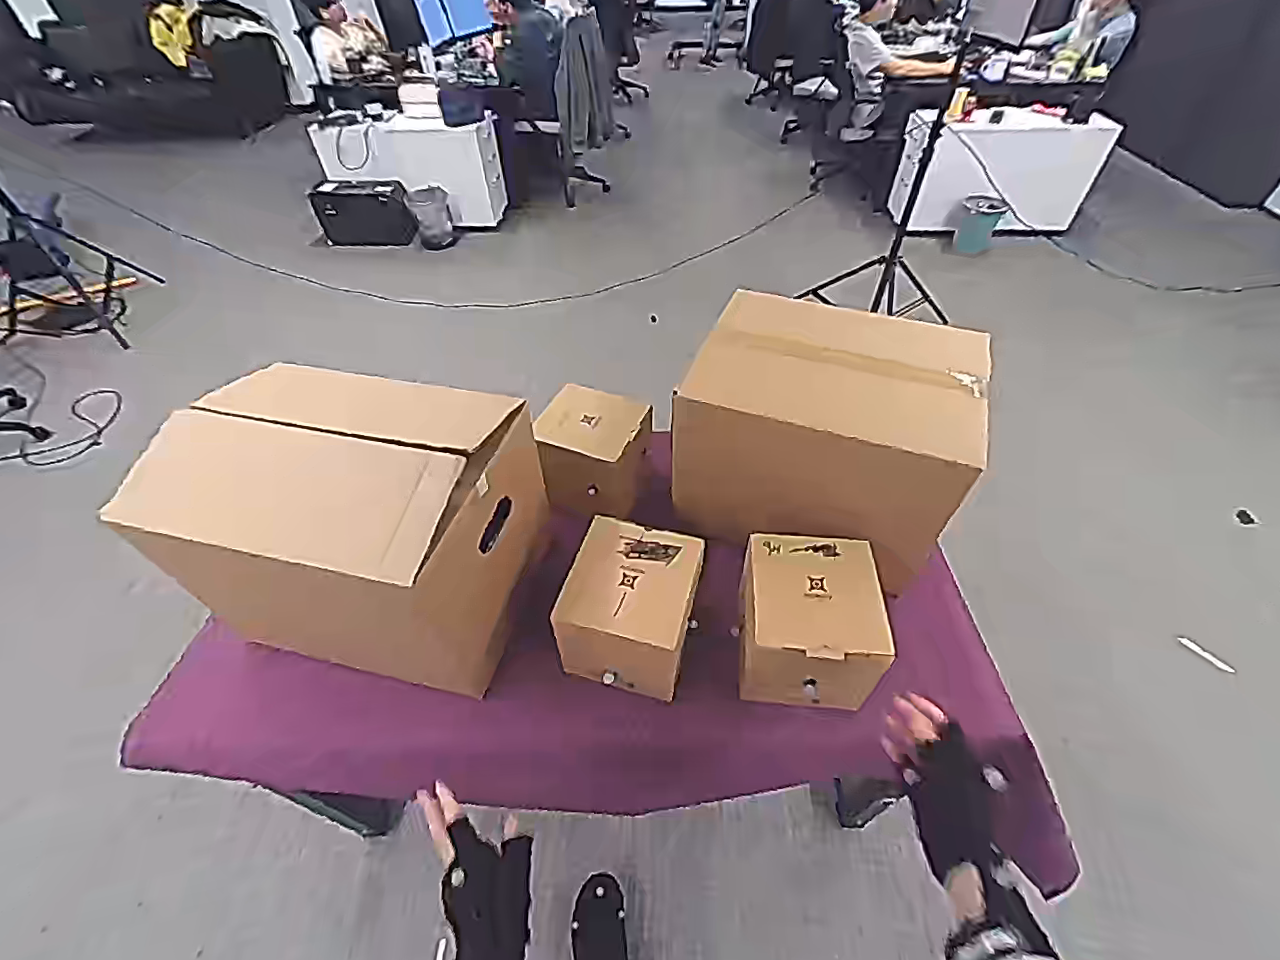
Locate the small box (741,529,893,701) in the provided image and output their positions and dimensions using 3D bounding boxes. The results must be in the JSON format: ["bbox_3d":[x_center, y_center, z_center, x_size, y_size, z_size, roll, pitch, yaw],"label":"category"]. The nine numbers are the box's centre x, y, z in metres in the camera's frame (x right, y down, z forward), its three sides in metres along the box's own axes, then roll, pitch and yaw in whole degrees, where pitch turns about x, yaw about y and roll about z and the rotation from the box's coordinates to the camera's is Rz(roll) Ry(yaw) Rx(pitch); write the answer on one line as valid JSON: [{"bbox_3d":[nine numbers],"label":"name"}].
[{"bbox_3d":[0.234,0.191,0.758,0.168,0.176,0.179,3,47,6],"label":"small box"}]
